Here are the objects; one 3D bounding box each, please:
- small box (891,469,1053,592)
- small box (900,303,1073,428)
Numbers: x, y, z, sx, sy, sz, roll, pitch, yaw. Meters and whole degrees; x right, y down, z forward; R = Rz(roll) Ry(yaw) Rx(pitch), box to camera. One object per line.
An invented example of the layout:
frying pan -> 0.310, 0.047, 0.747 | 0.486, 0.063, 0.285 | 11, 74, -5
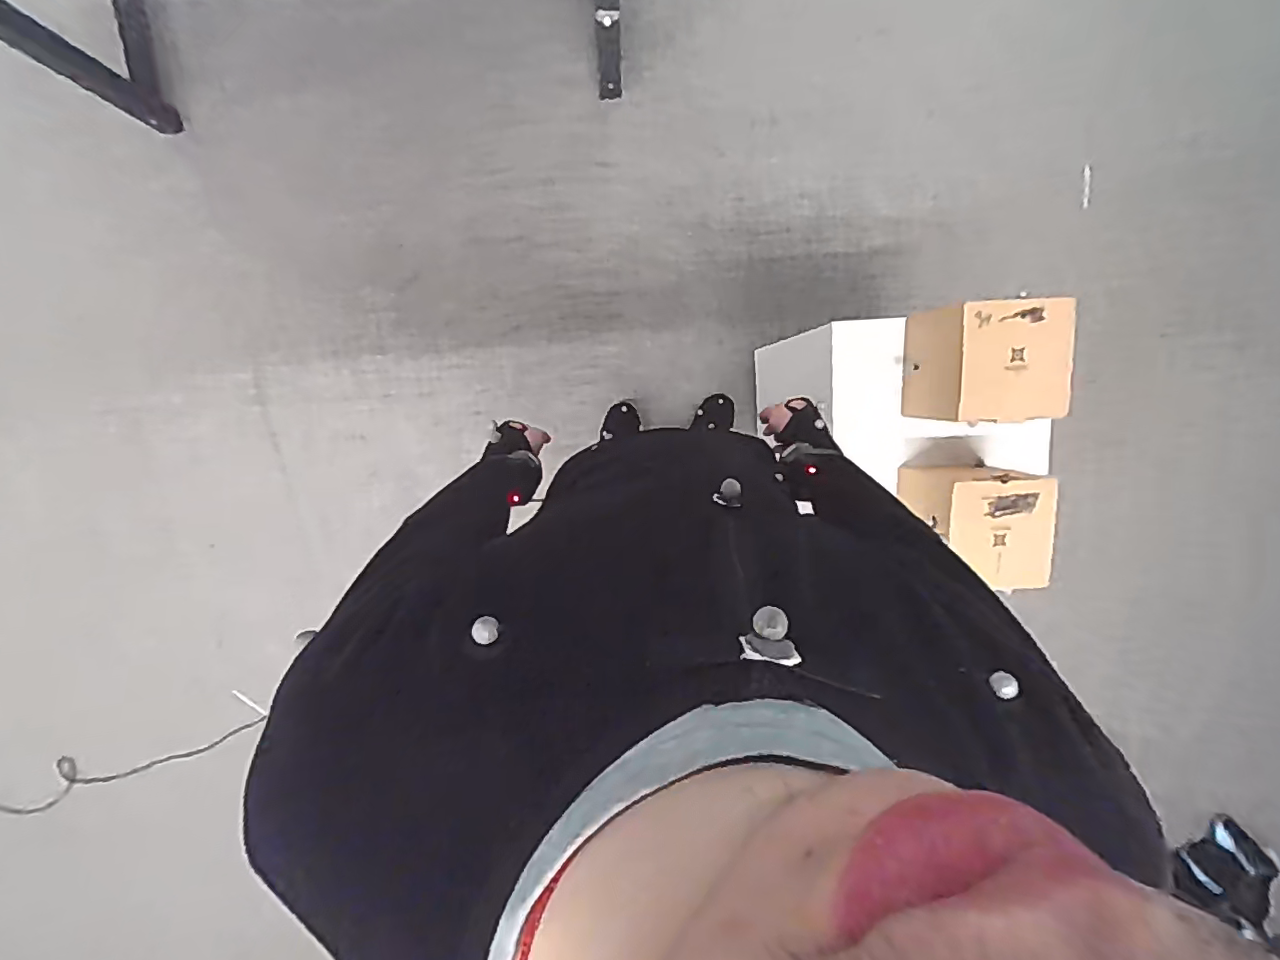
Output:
small box -> 0.541, 0.075, 0.903 | 0.168, 0.176, 0.179 | -1, 99, -1
small box -> 0.537, -0.182, 0.864 | 0.168, 0.176, 0.179 | -3, 101, -1
